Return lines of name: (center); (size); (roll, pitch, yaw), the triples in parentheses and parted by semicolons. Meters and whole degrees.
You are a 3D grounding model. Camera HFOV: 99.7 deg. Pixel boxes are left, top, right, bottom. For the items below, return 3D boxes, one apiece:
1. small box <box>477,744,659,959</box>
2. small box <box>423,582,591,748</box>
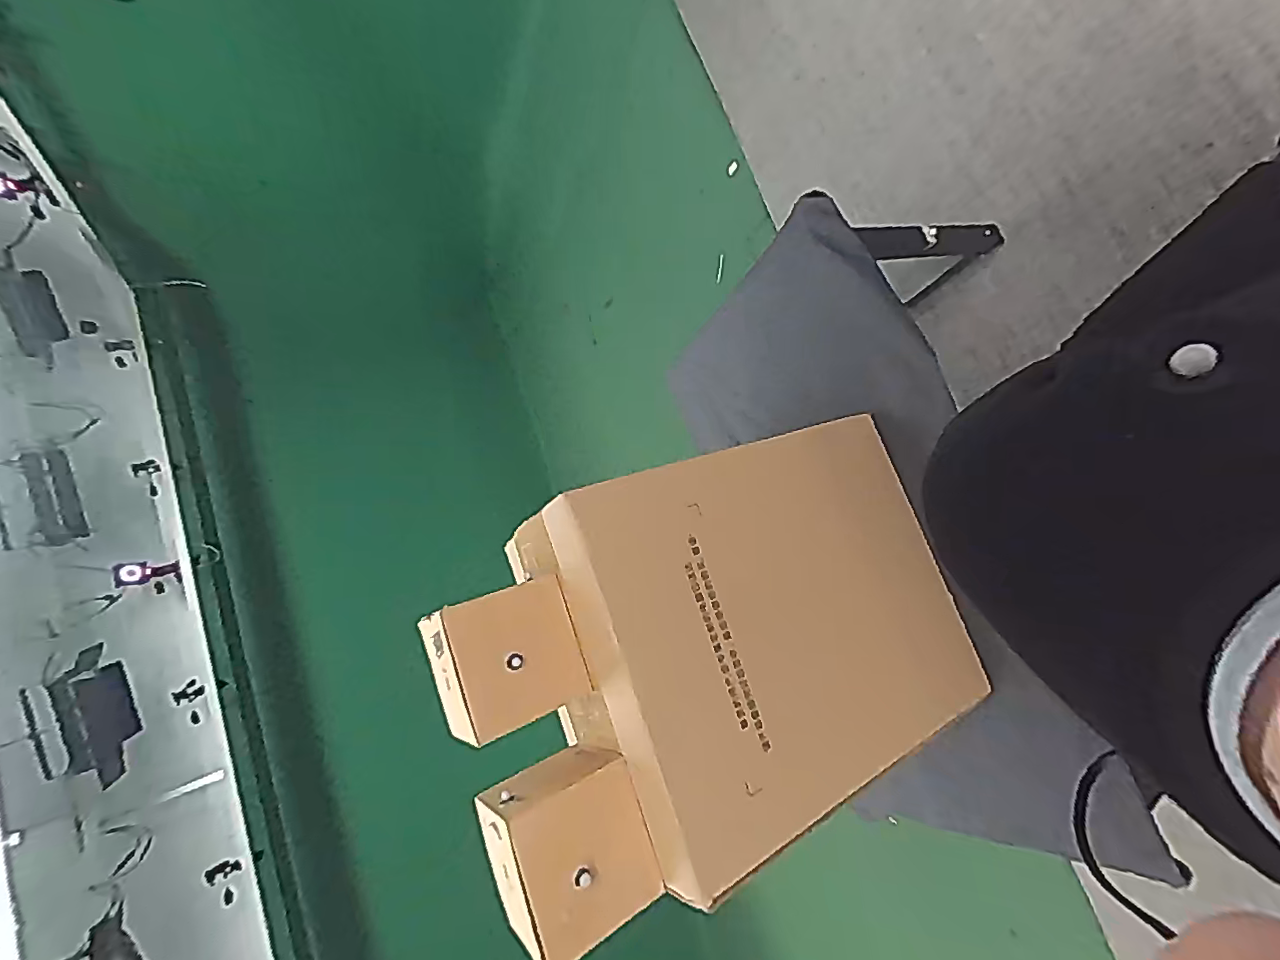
small box: (-0.098, 0.489, 0.729); (0.168, 0.176, 0.179); (-33, 74, 55)
small box: (-0.196, 0.258, 0.788); (0.168, 0.176, 0.179); (-31, 76, 55)
